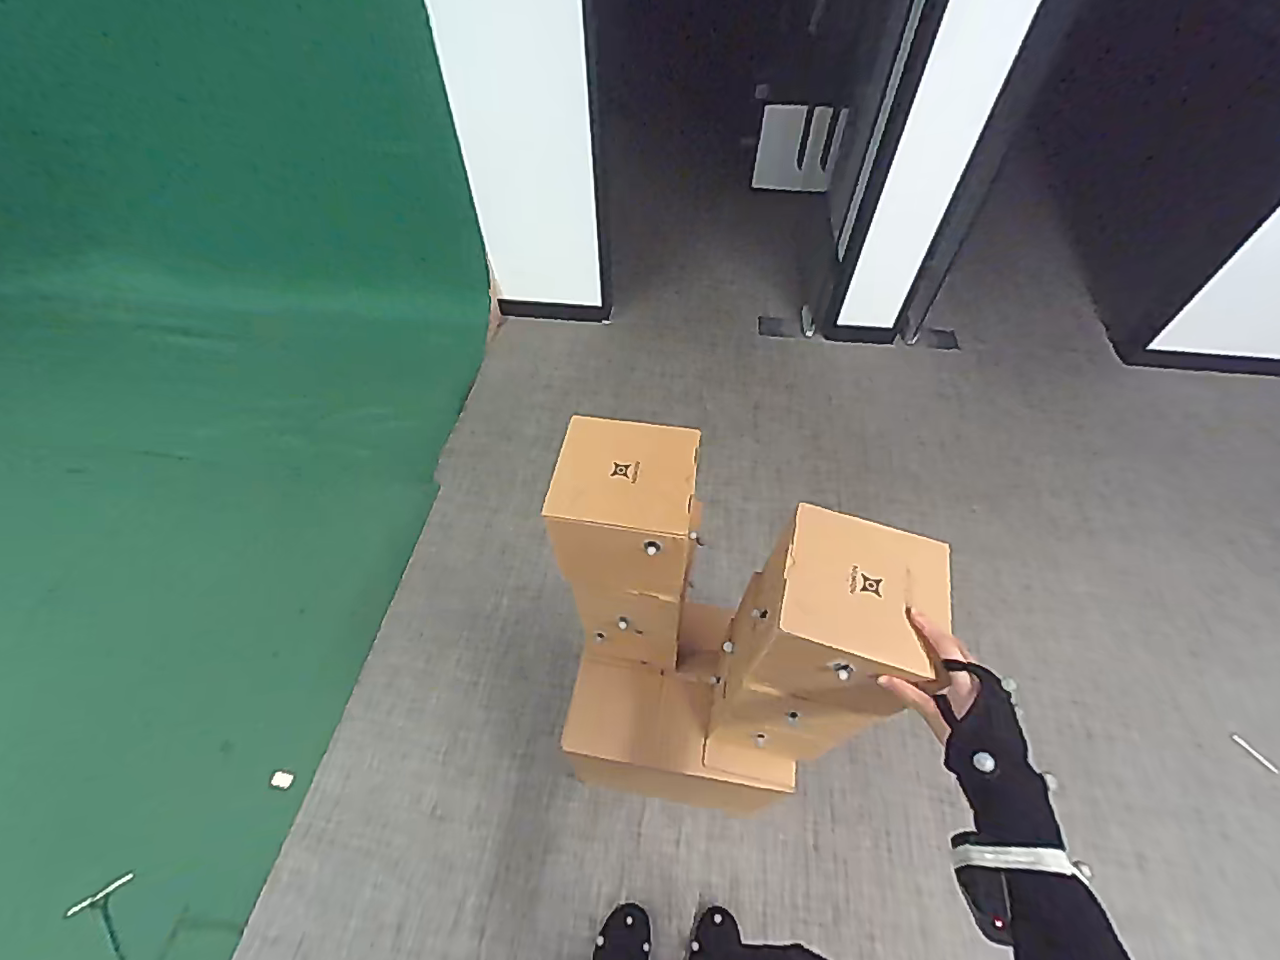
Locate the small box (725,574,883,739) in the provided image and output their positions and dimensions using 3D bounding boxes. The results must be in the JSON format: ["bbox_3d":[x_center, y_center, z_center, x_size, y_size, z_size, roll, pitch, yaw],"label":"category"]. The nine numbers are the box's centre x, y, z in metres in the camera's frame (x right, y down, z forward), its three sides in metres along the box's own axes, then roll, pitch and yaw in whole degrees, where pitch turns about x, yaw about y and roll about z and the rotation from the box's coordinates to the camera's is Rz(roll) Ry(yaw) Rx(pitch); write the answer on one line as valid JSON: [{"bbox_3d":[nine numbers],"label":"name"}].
[{"bbox_3d":[0.228,0.258,0.777,0.179,0.176,0.168,10,55,7],"label":"small box"}]

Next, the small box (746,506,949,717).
[{"bbox_3d":[0.237,0.161,0.643,0.179,0.176,0.168,17,55,8],"label":"small box"}]

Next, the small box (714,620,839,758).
[{"bbox_3d":[0.224,0.355,0.909,0.179,0.176,0.168,9,56,7],"label":"small box"}]
